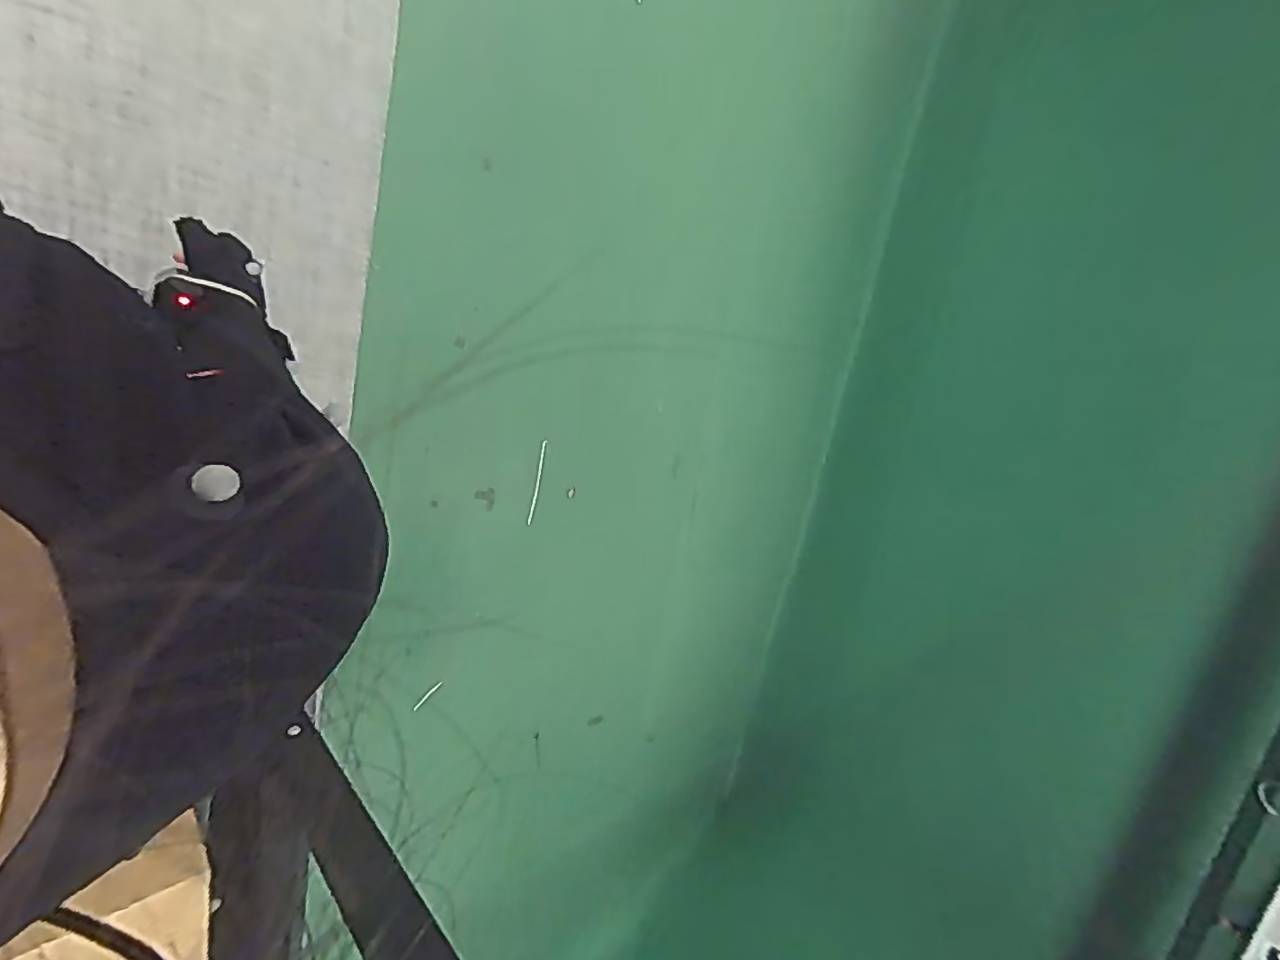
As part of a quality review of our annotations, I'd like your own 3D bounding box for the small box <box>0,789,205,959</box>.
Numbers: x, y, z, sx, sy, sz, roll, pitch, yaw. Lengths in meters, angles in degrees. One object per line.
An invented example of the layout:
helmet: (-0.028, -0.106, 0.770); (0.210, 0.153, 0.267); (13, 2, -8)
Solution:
small box: (-0.614, 0.488, 0.608); (0.168, 0.176, 0.179); (-3, 109, -49)
